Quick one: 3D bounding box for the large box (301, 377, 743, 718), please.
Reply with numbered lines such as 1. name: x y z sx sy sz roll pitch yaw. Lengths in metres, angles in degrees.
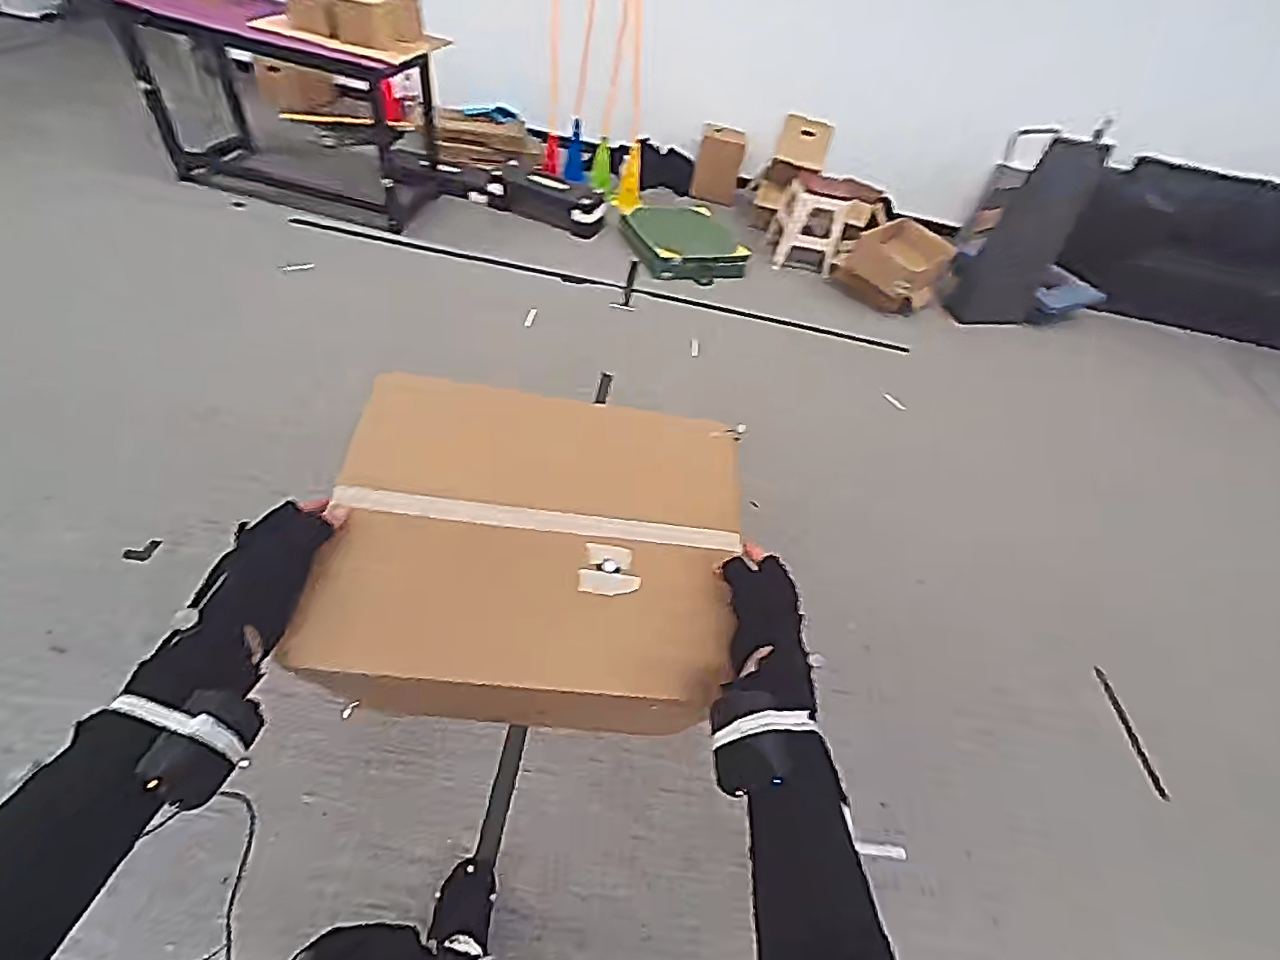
1. large box: -0.119 0.110 0.686 0.408 0.320 0.320 8 60 -8
